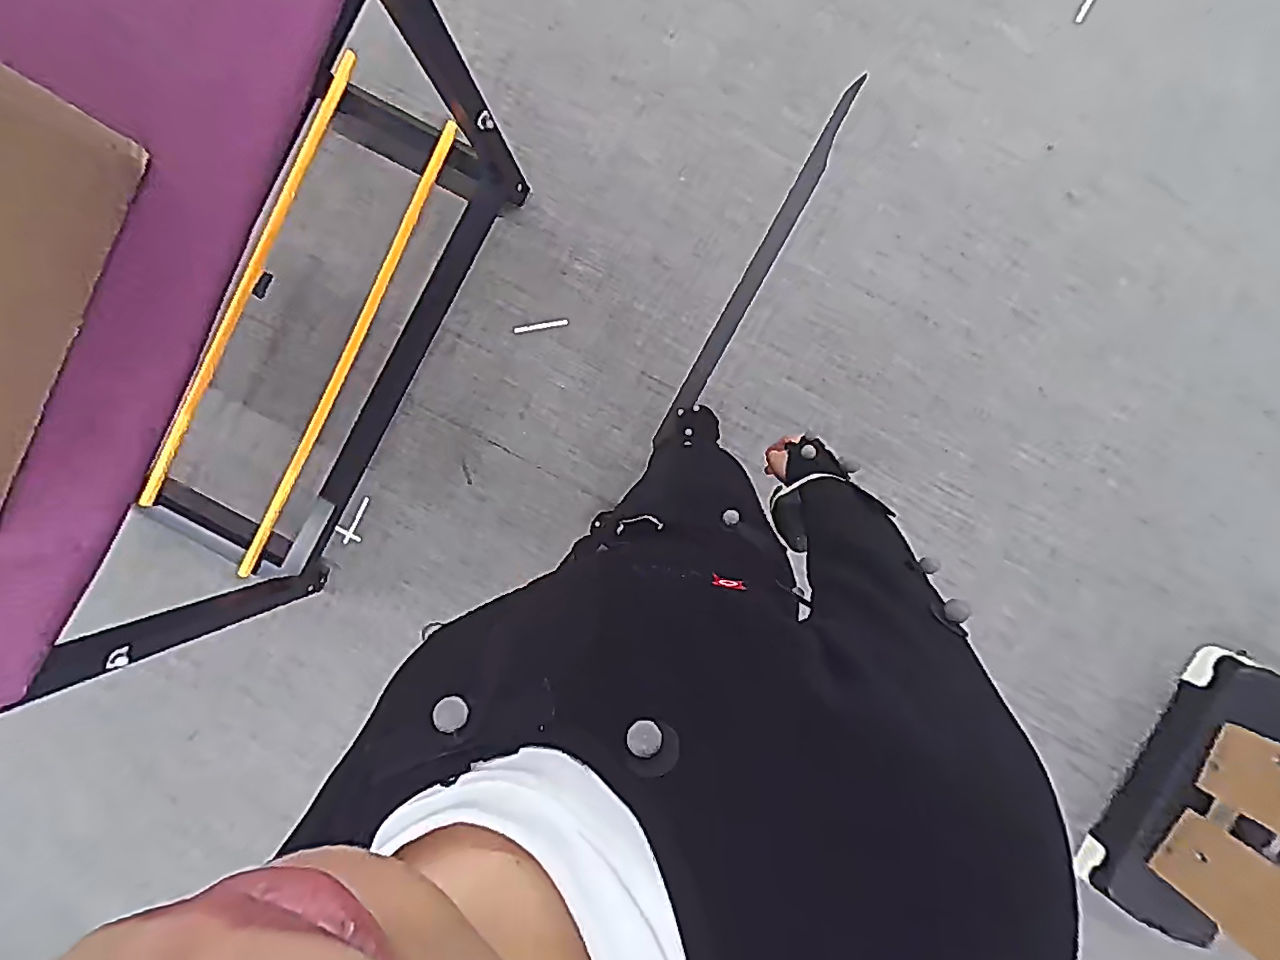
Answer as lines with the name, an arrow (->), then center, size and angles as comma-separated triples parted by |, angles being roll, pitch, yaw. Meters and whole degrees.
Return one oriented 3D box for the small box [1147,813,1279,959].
small box -> 1.285, 0.871, 1.177 | 0.179, 0.176, 0.168 | 32, 93, 1
